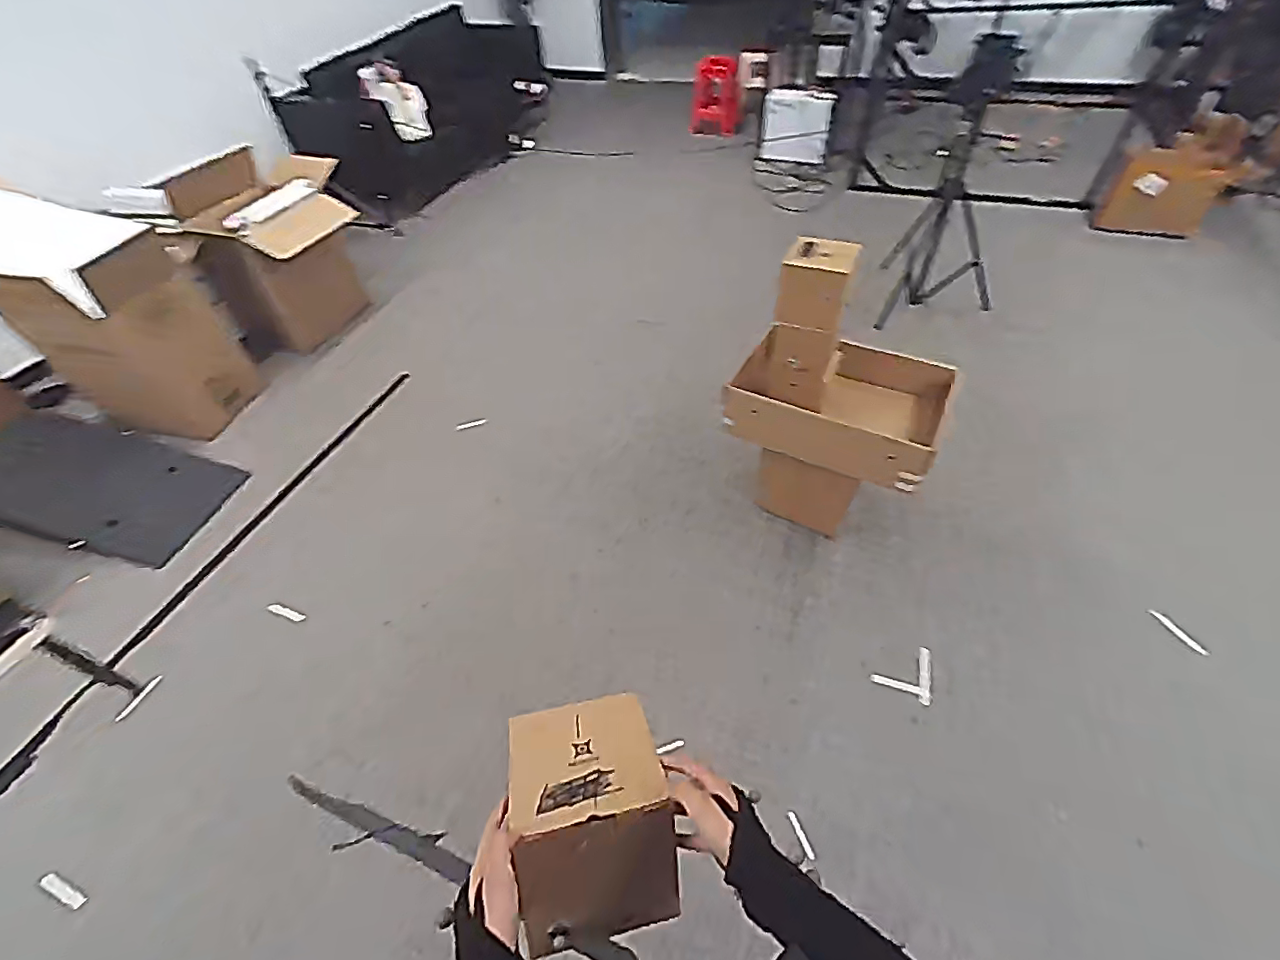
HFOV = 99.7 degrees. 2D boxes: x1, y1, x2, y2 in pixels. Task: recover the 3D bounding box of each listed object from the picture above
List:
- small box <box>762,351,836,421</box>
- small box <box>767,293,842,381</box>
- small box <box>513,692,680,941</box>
[{"bbox_3d":[0.500,-0.311,1.717,0.179,0.176,0.168,19,53,19],"label":"small box"},{"bbox_3d":[0.482,-0.423,1.599,0.168,0.176,0.179,16,52,19],"label":"small box"},{"bbox_3d":[-0.054,0.388,0.633,0.168,0.176,0.179,-7,17,-11],"label":"small box"}]
